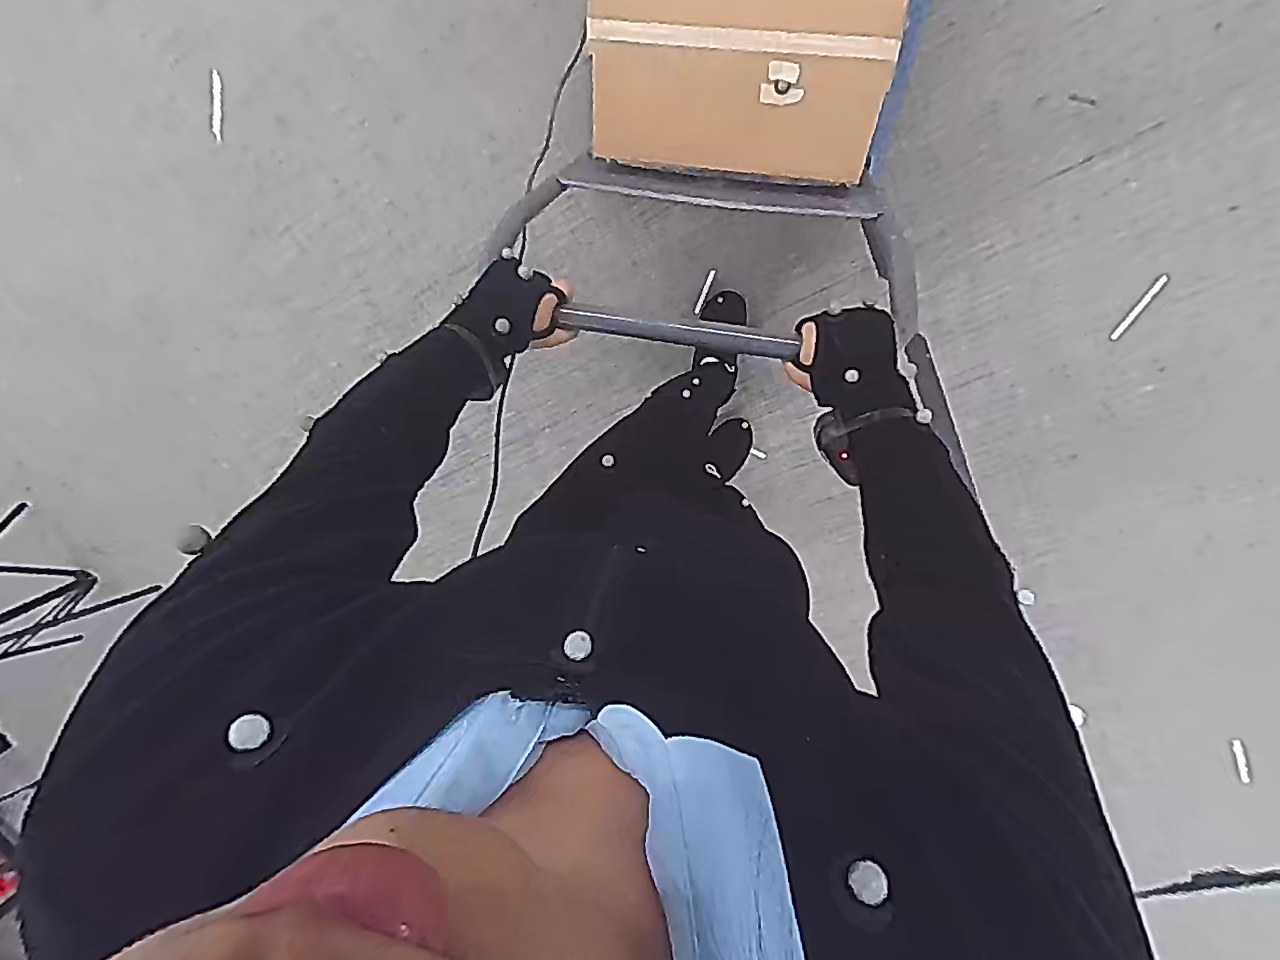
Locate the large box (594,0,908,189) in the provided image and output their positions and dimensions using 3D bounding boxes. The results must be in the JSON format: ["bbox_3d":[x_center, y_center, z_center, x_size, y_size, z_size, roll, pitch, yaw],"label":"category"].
[{"bbox_3d":[0.157,-0.666,0.835,0.408,0.320,0.320,10,130,6],"label":"large box"}]
